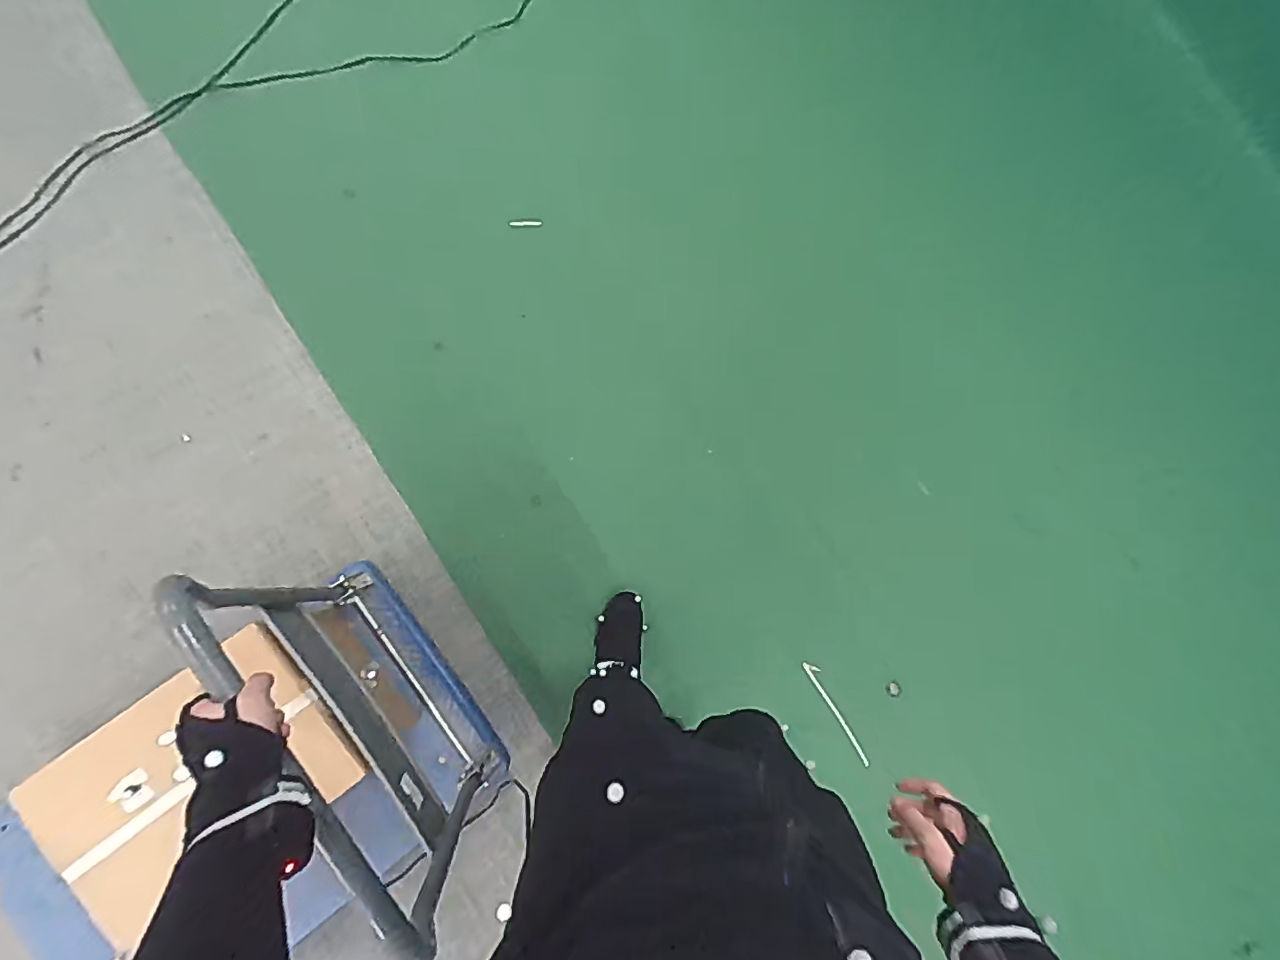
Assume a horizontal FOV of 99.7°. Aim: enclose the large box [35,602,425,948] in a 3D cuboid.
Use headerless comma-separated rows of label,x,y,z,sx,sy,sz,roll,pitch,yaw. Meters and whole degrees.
large box,-0.685,0.480,0.990,0.408,0.320,0.320,-37,88,-10
